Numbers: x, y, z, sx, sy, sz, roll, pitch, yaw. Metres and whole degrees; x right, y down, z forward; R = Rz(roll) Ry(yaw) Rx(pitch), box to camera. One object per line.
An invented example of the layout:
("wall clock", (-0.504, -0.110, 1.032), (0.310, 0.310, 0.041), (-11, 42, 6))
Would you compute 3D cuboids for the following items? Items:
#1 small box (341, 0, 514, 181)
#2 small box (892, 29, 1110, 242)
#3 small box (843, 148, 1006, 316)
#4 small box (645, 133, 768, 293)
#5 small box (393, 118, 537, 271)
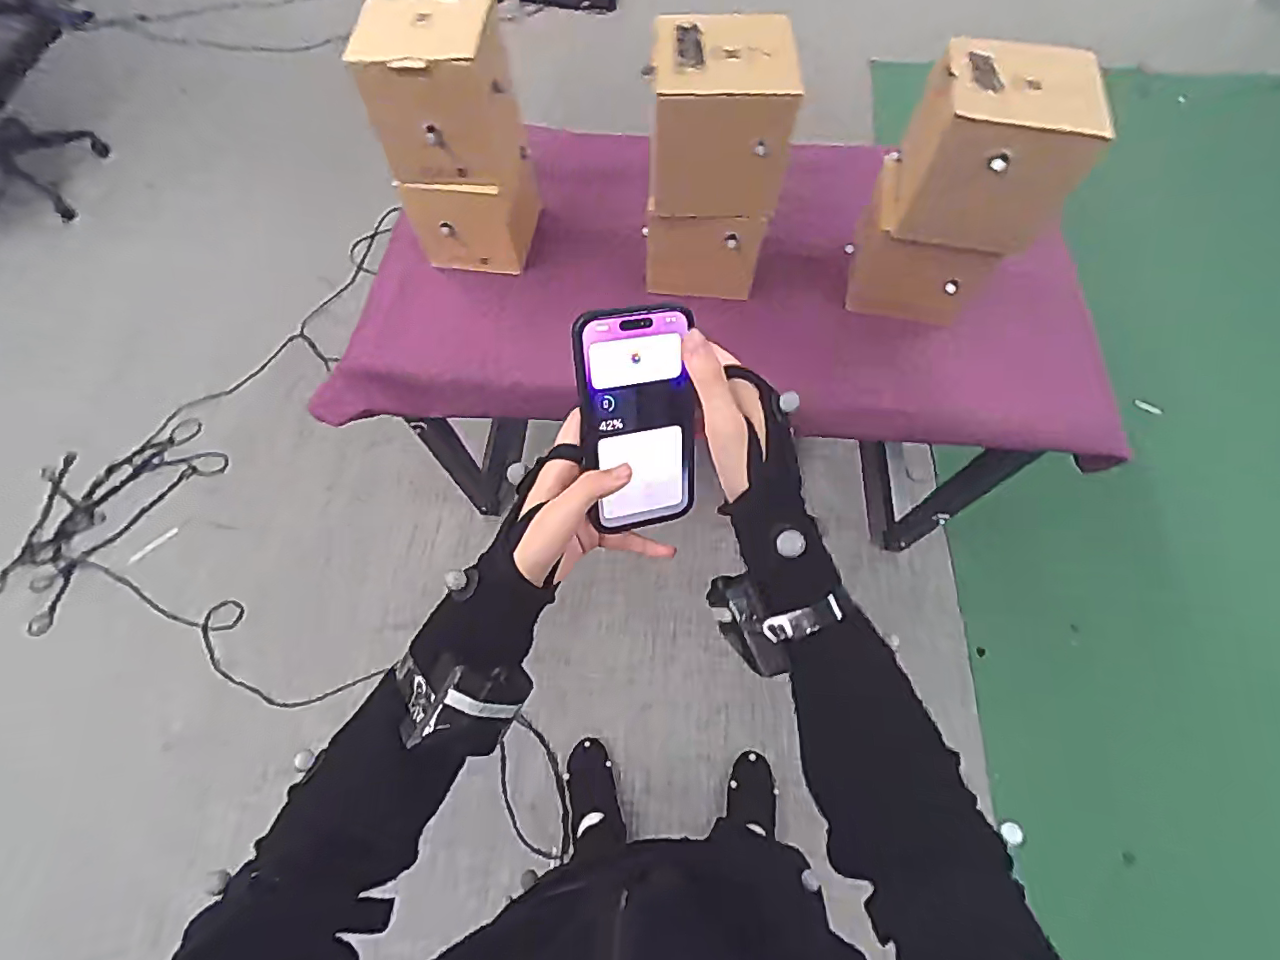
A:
("small box", (-0.285, -0.555, 0.771), (0.168, 0.176, 0.179), (1, 66, 1))
("small box", (0.444, -0.437, 0.700), (0.179, 0.176, 0.168), (11, 66, 6))
("small box", (0.440, -0.384, 0.855), (0.179, 0.176, 0.168), (11, 66, 7))
("small box", (0.104, -0.427, 0.882), (0.179, 0.176, 0.168), (5, 66, 4))
("small box", (-0.282, -0.479, 0.917), (0.168, 0.176, 0.179), (6, 66, 4))
